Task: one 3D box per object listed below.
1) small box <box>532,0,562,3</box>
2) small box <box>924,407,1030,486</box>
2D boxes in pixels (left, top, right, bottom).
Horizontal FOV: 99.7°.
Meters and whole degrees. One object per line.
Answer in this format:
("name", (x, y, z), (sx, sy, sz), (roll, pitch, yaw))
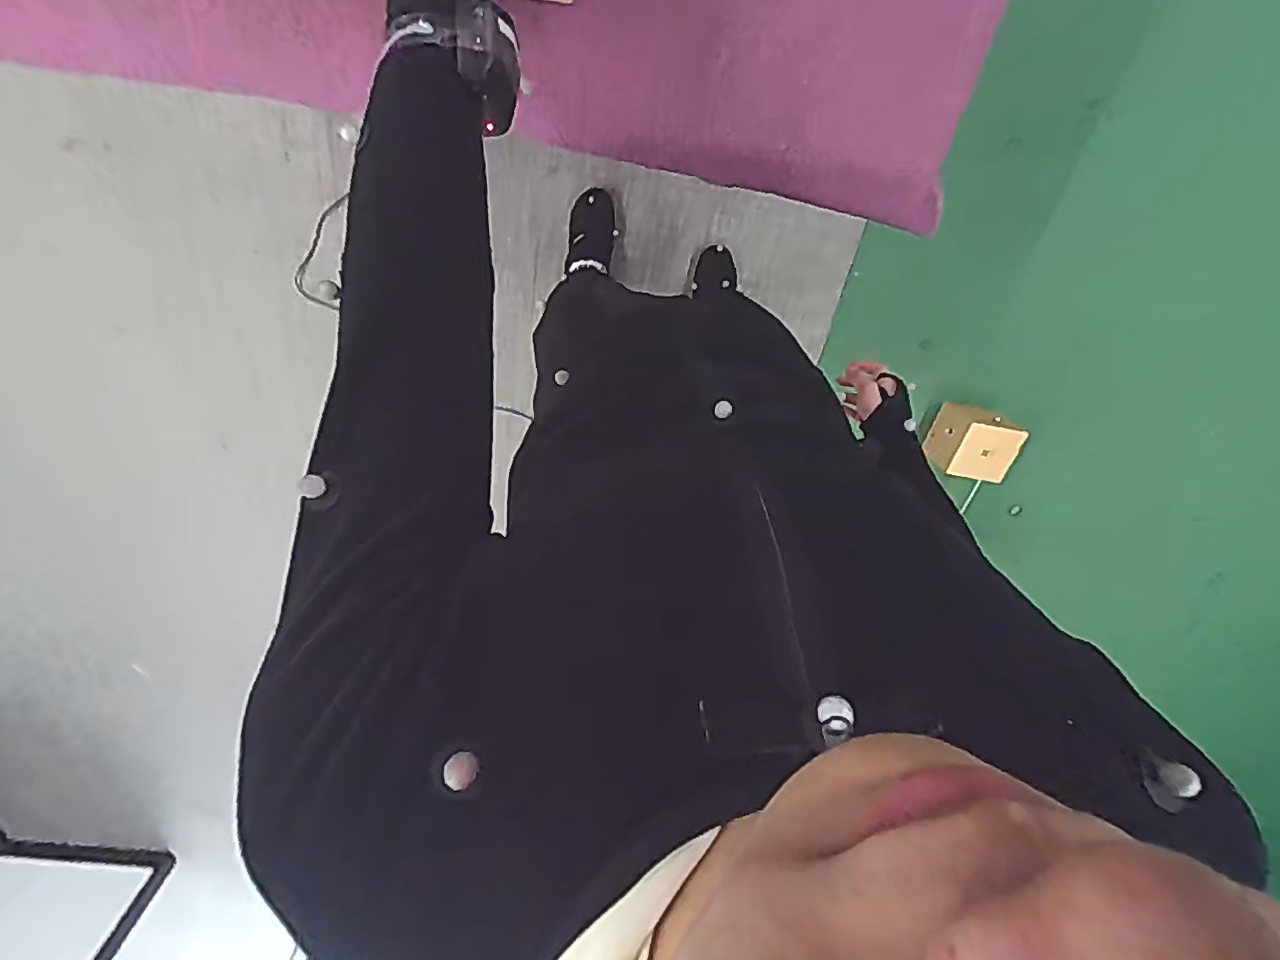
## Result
("small box", (-0.150, -0.536, 0.462), (0.168, 0.176, 0.179), (8, 131, -1))
("small box", (0.980, -0.105, 1.595), (0.179, 0.176, 0.168), (9, 119, -6))
